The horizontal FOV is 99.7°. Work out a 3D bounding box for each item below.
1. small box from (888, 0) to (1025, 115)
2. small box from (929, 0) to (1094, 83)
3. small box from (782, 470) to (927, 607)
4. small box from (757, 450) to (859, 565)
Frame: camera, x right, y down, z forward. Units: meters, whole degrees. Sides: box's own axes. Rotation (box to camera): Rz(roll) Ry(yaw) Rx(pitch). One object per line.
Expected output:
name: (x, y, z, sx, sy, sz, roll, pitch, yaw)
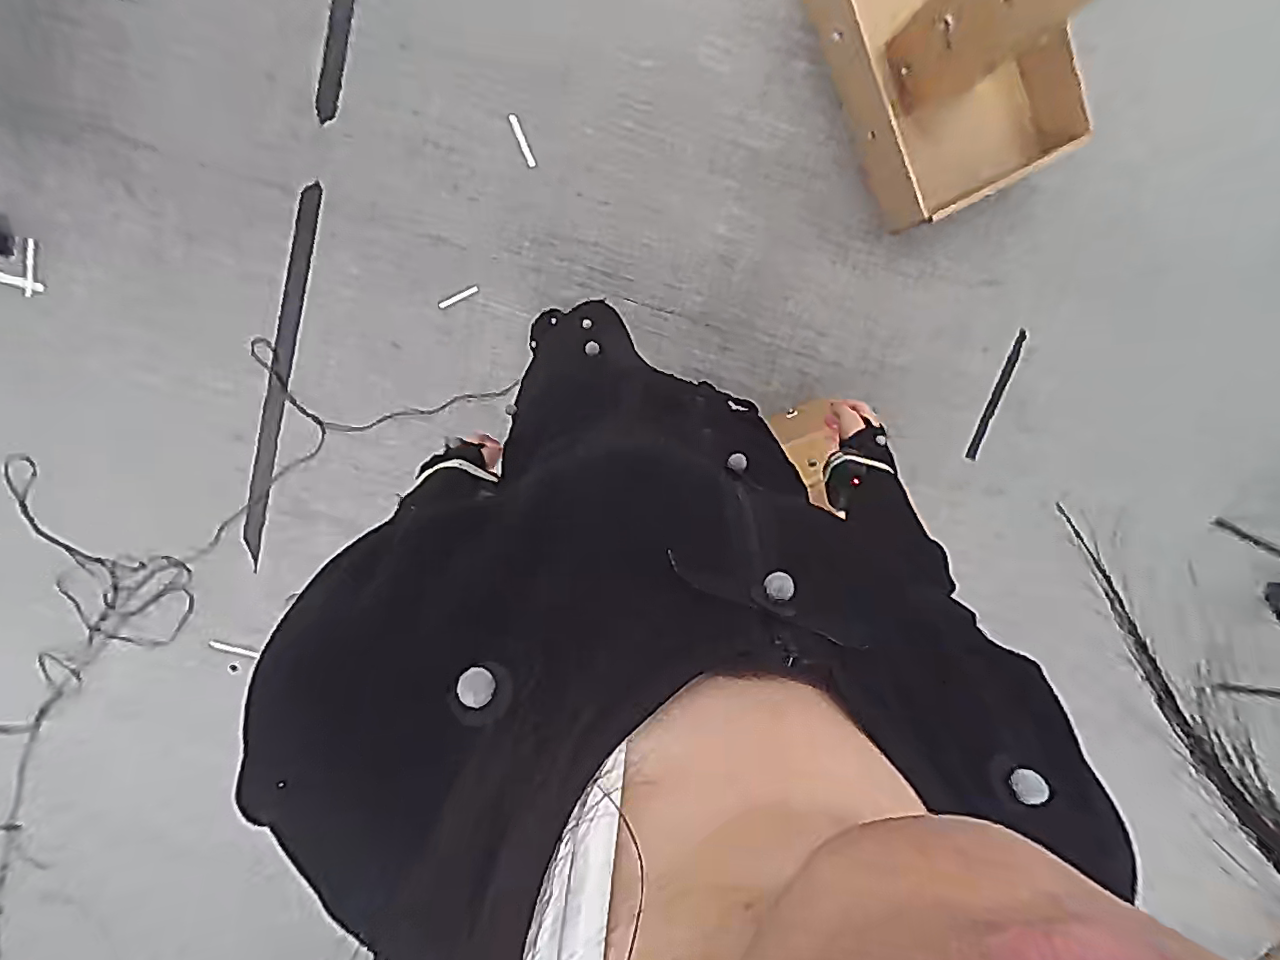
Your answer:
small box: (0.675, -0.937, 1.166, 0.179, 0.176, 0.168, -23, 103, 3)
small box: (0.685, -0.897, 1.009, 0.179, 0.176, 0.168, -24, 103, 4)
small box: (0.375, 0.093, 0.974, 0.168, 0.176, 0.179, -21, 104, 3)
small box: (0.362, 0.046, 1.131, 0.168, 0.176, 0.179, -22, 104, 3)
